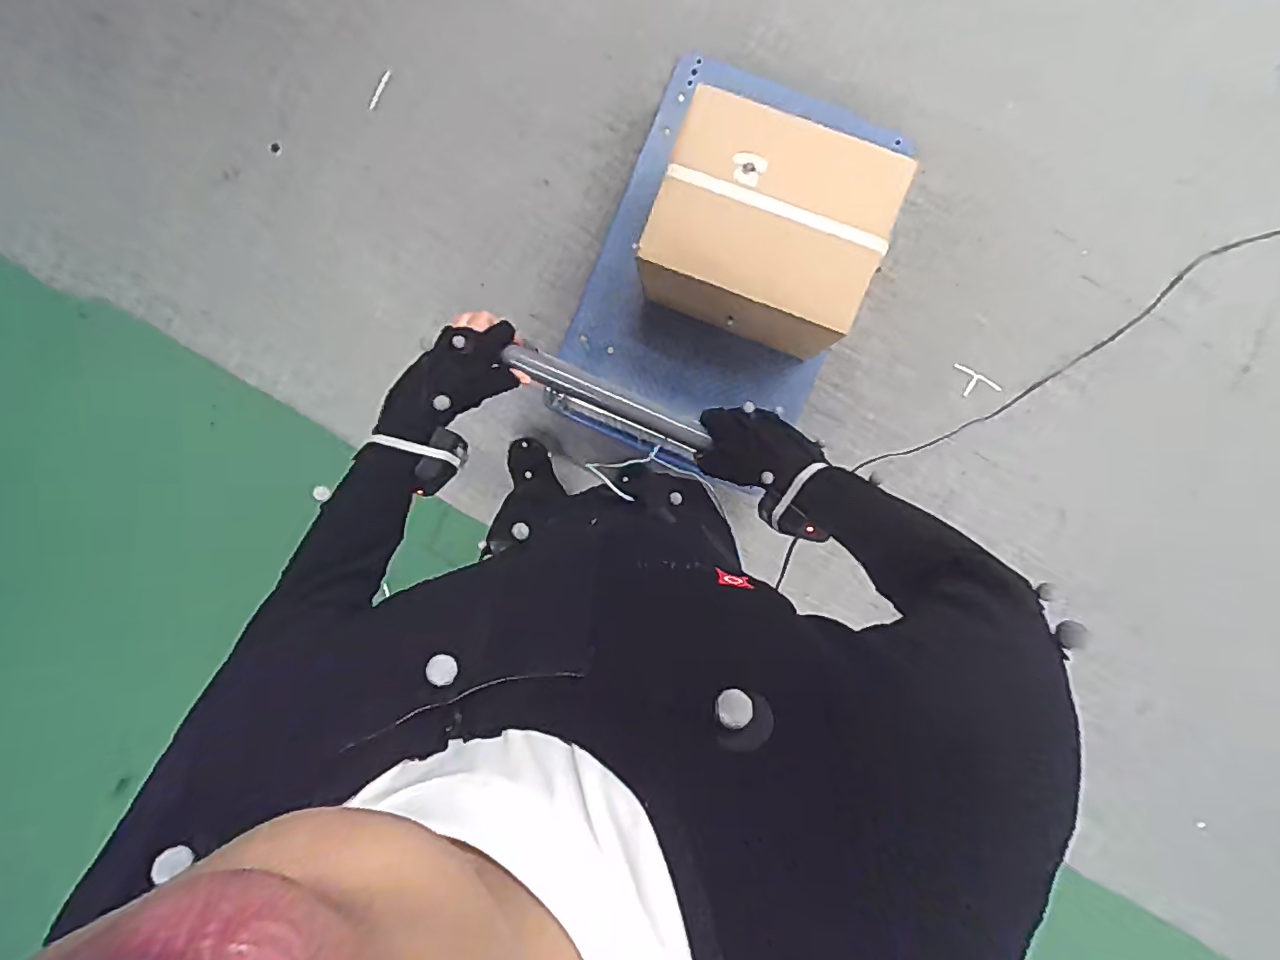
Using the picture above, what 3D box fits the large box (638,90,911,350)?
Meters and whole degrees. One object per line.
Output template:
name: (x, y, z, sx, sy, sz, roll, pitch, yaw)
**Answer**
large box: (0.247, -0.491, 1.102, 0.408, 0.320, 0.320, 21, 96, 3)
